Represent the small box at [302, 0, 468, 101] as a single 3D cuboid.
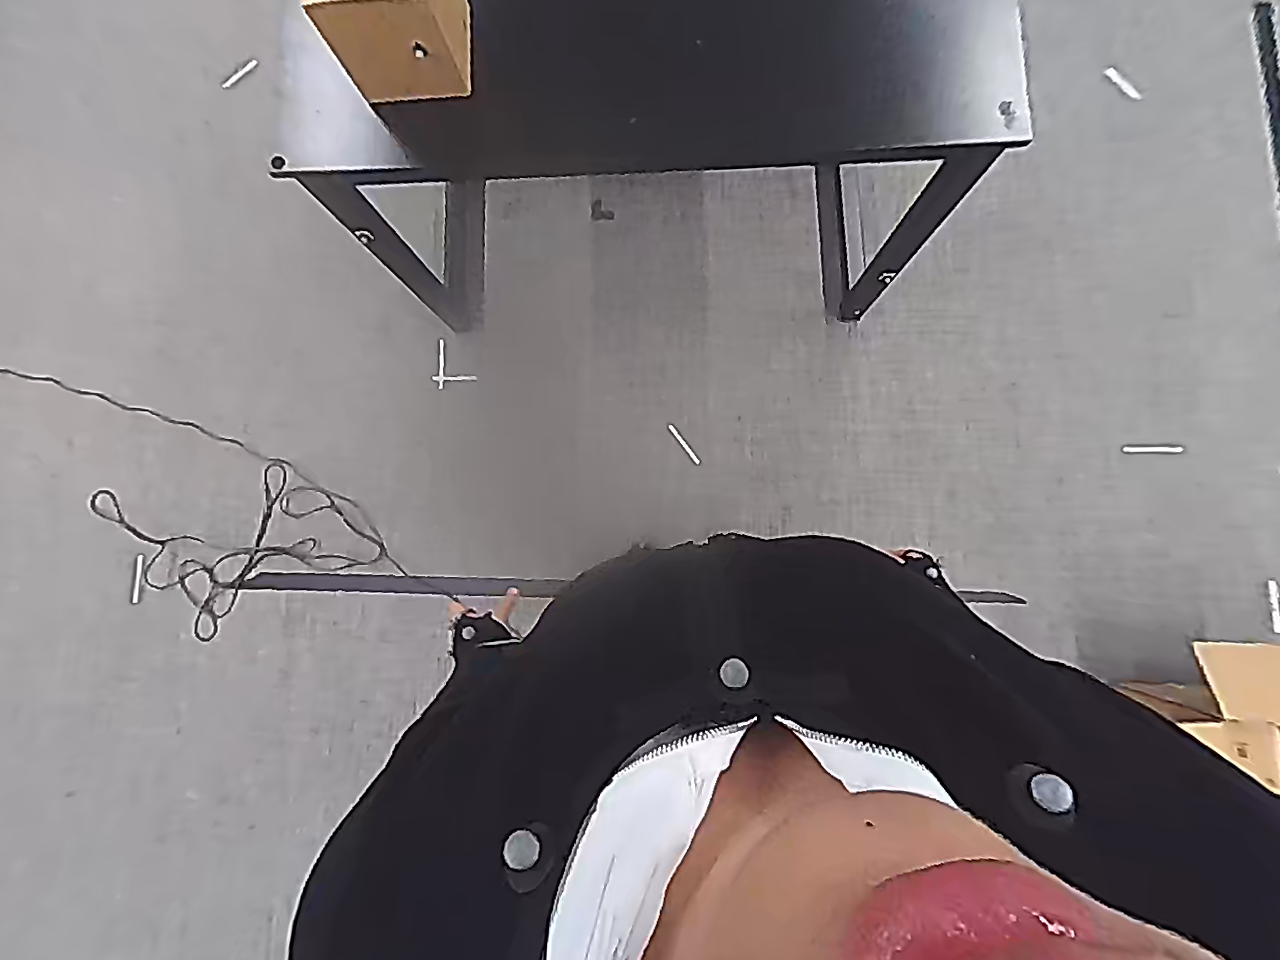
[{"bbox_3d":[-0.370,-0.714,0.814,0.179,0.176,0.168,-3,83,3],"label":"small box"}]
